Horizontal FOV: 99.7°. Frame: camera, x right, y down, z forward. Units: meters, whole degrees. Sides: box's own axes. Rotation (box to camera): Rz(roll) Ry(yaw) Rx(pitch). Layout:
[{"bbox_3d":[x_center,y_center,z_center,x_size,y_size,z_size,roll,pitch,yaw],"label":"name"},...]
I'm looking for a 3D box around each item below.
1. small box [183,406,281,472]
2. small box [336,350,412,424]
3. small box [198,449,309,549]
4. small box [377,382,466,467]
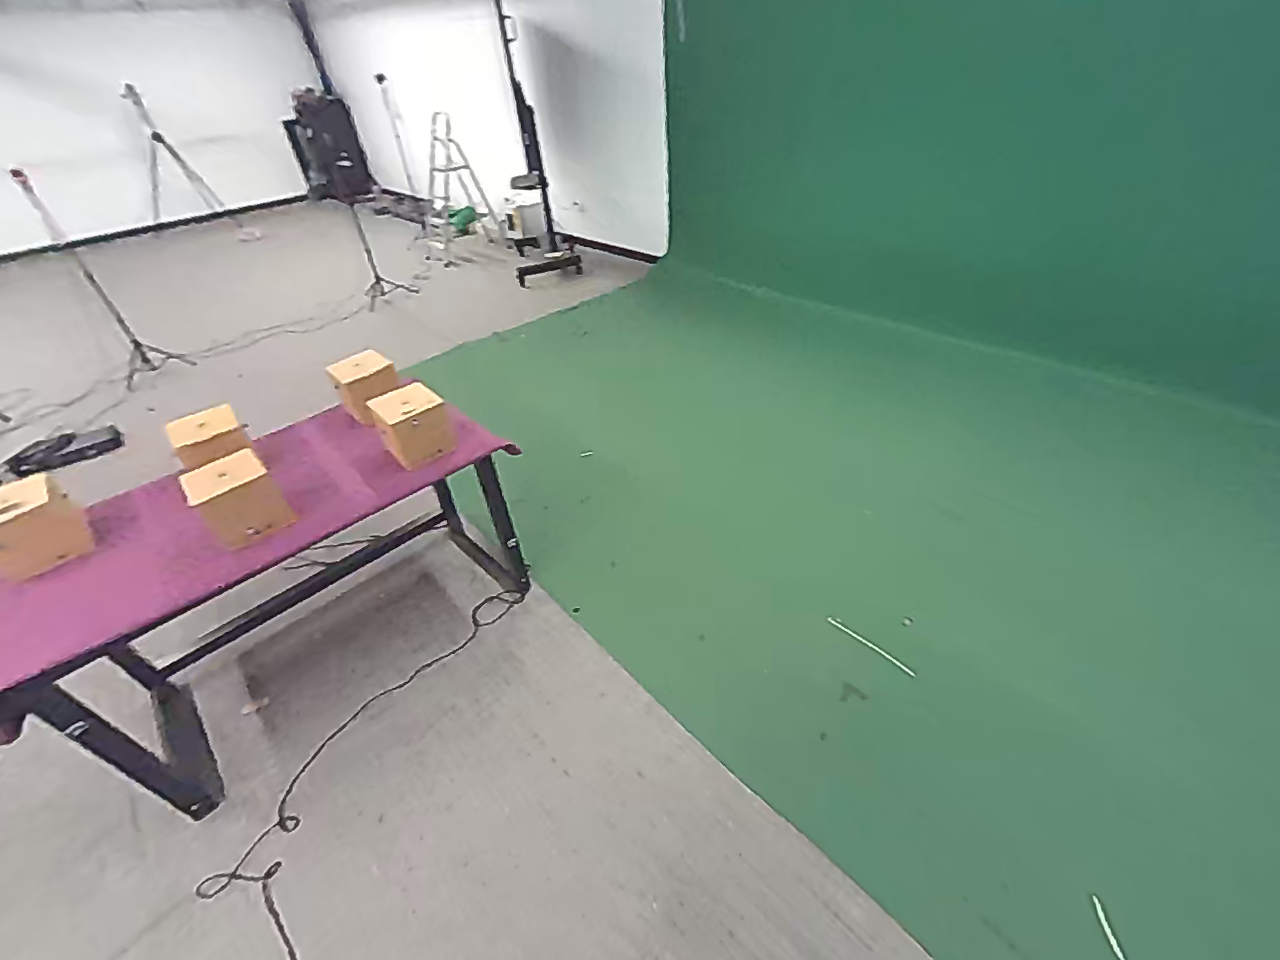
[{"bbox_3d":[-1.224,-0.093,1.626,0.168,0.176,0.179,-31,48,-28],"label":"small box"},{"bbox_3d":[-0.892,-0.317,1.845,0.168,0.176,0.179,-36,49,-28],"label":"small box"},{"bbox_3d":[-1.013,0.052,1.422,0.168,0.176,0.179,-34,46,-28],"label":"small box"},{"bbox_3d":[-0.654,-0.165,1.630,0.168,0.176,0.179,-34,47,-27],"label":"small box"}]
